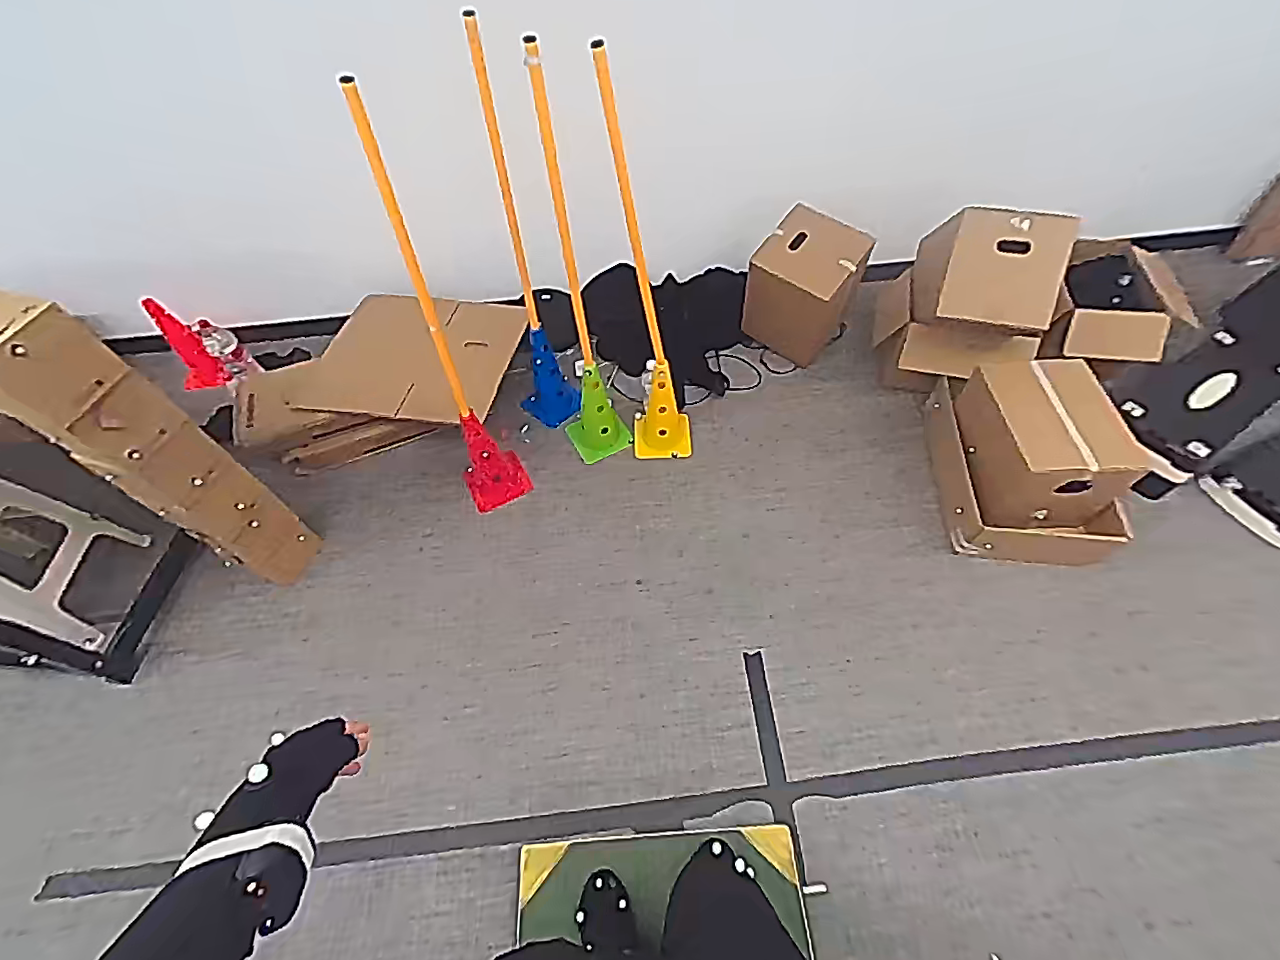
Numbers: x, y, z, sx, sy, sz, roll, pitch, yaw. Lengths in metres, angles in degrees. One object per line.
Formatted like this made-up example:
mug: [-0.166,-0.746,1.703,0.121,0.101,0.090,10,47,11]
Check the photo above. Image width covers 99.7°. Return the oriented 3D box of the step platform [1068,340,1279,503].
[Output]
step platform: [1.808,-0.210,1.818,0.684,0.204,0.286,-30,60,-16]
